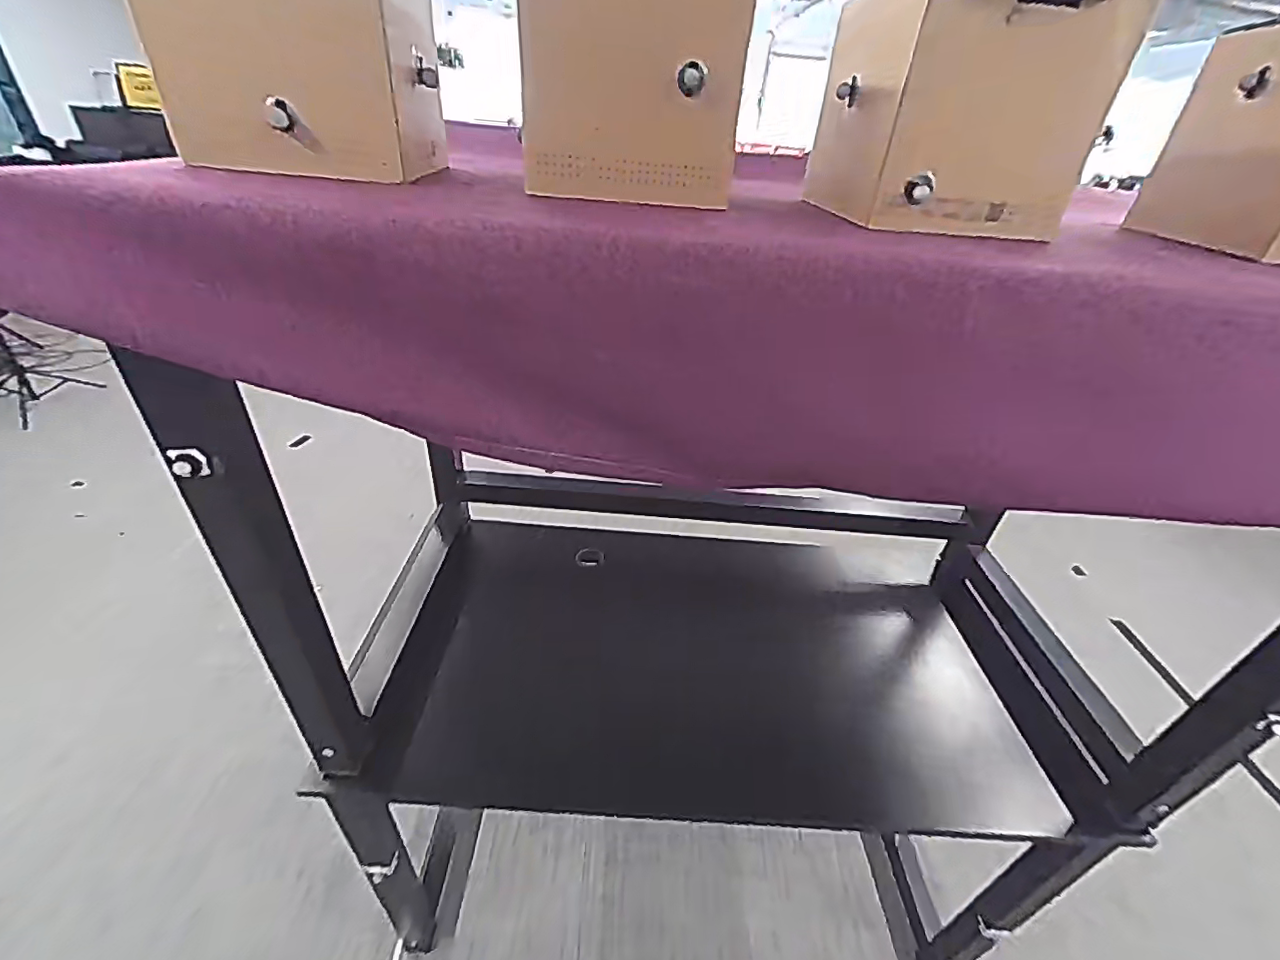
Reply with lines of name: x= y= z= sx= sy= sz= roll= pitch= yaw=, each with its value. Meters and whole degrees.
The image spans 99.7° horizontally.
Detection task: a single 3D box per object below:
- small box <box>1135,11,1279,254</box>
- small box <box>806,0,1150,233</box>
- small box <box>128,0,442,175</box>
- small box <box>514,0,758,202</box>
small box: x=0.593 y=-0.286 z=0.458 sx=0.168 sy=0.176 sz=0.179 roll=6 pitch=34 yaw=2
small box: x=0.263 y=-0.319 z=0.465 sx=0.168 sy=0.176 sz=0.179 roll=2 pitch=33 yaw=-6
small box: x=-0.276 y=-0.362 z=0.454 sx=0.179 sy=0.176 sz=0.168 roll=2 pitch=34 yaw=-6
small box: x=-0.008 y=-0.349 z=0.475 sx=0.179 sy=0.176 sz=0.168 roll=2 pitch=34 yaw=-4
